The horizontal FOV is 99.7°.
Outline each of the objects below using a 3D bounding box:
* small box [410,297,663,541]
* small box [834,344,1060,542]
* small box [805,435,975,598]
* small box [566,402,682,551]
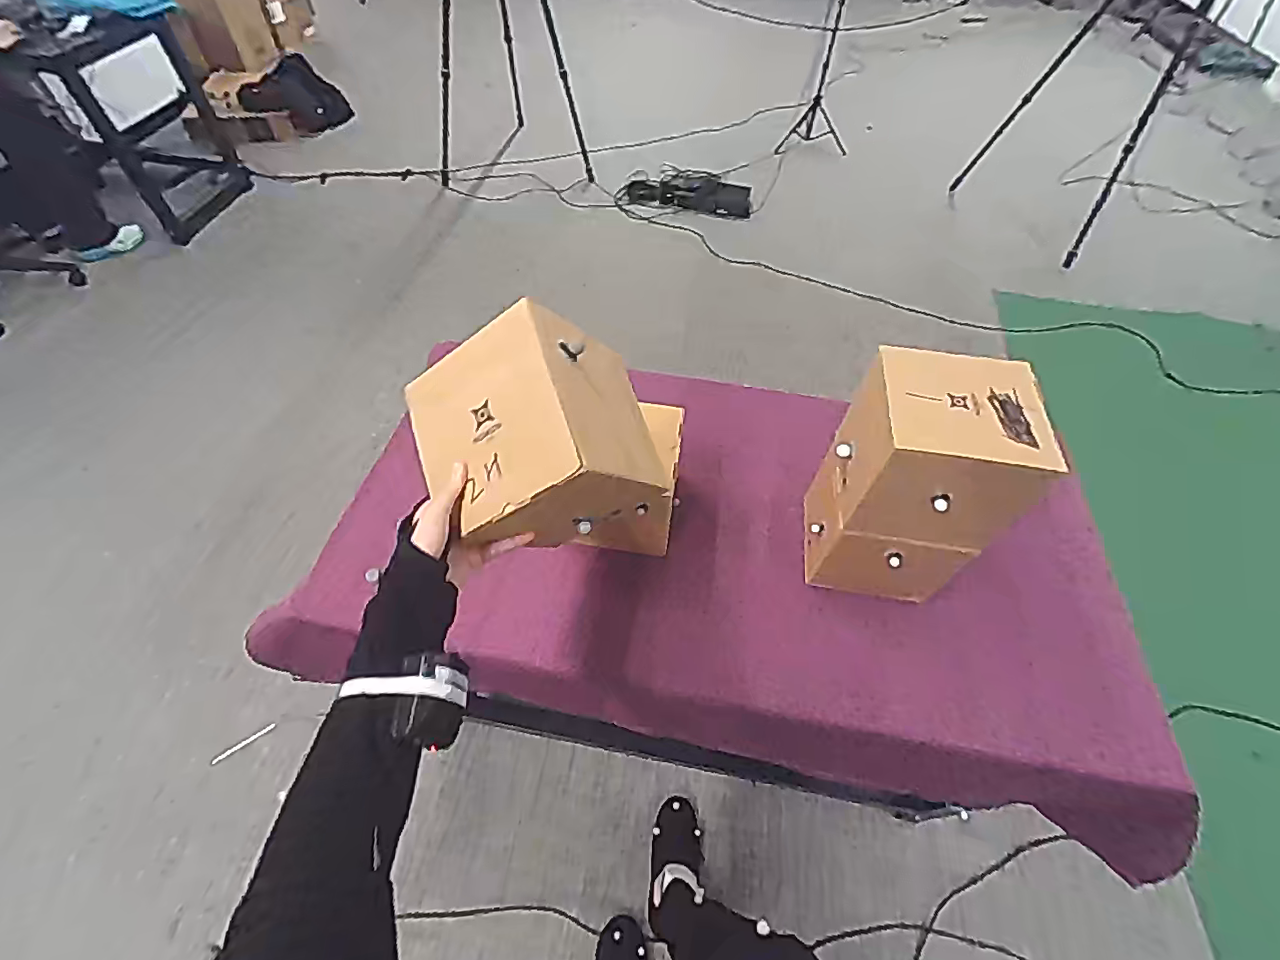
[{"bbox_3d":[-0.101,-0.046,0.560,0.168,0.176,0.179,-27,71,22],"label":"small box"},{"bbox_3d":[0.354,-0.040,0.665,0.179,0.176,0.168,8,55,5],"label":"small box"},{"bbox_3d":[0.349,0.058,0.797,0.179,0.176,0.168,10,55,4],"label":"small box"},{"bbox_3d":[-0.036,-0.006,0.831,0.179,0.176,0.168,8,54,3],"label":"small box"}]
